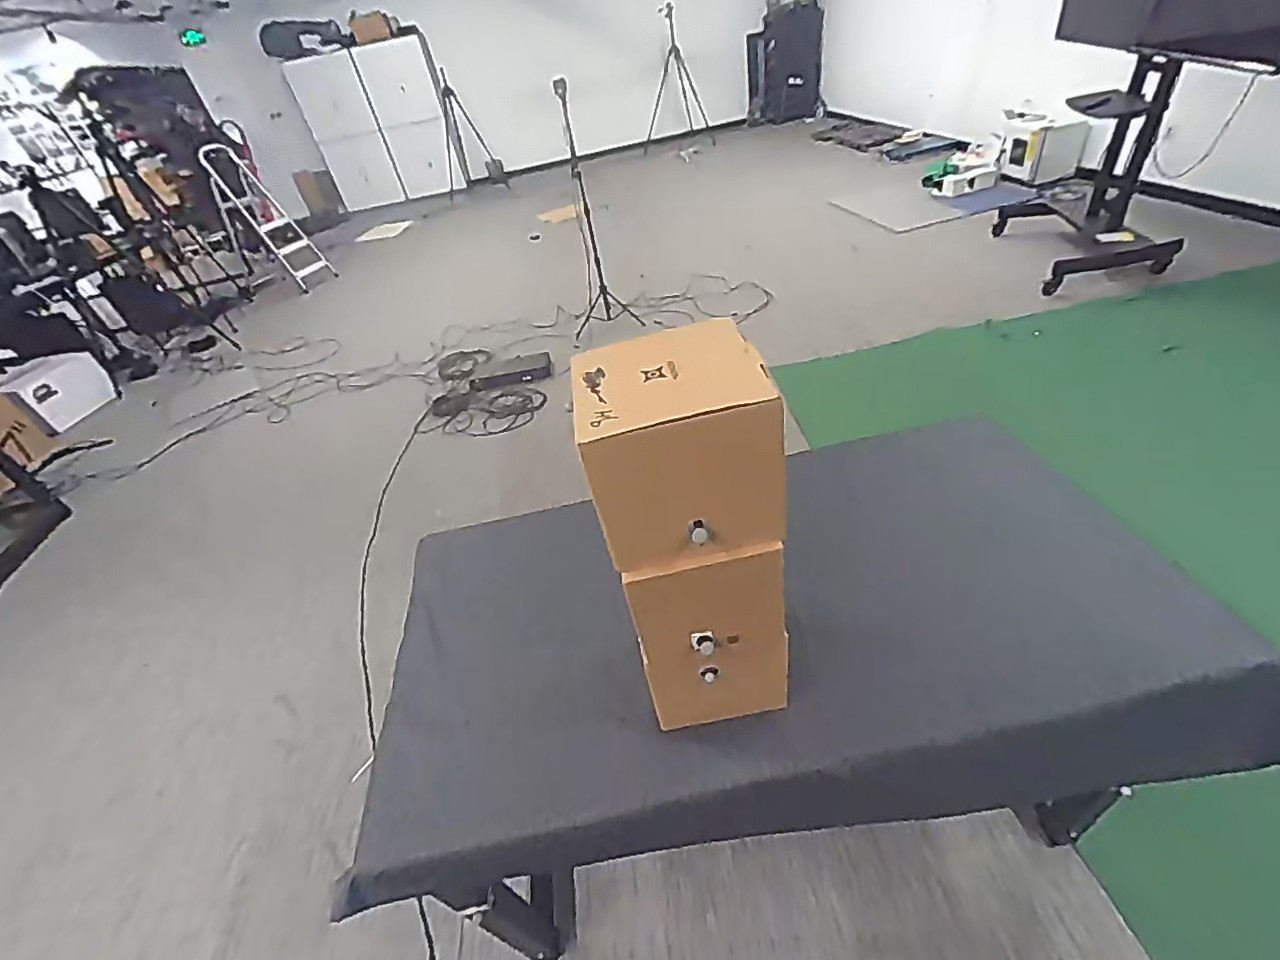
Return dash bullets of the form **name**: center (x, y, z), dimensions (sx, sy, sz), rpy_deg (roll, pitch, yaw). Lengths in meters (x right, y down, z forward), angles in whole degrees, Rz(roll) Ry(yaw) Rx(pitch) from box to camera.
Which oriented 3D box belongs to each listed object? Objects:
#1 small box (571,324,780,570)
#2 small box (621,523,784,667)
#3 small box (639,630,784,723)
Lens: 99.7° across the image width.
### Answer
- **small box**: center (0.035, -0.033, 0.553), dimensions (0.179, 0.176, 0.168), rpy_deg (-12, 39, 2)
- **small box**: center (0.067, 0.094, 0.652), dimensions (0.168, 0.176, 0.179), rpy_deg (-14, 40, 2)
- **small box**: center (0.095, 0.215, 0.754), dimensions (0.179, 0.176, 0.168), rpy_deg (-11, 39, 2)
